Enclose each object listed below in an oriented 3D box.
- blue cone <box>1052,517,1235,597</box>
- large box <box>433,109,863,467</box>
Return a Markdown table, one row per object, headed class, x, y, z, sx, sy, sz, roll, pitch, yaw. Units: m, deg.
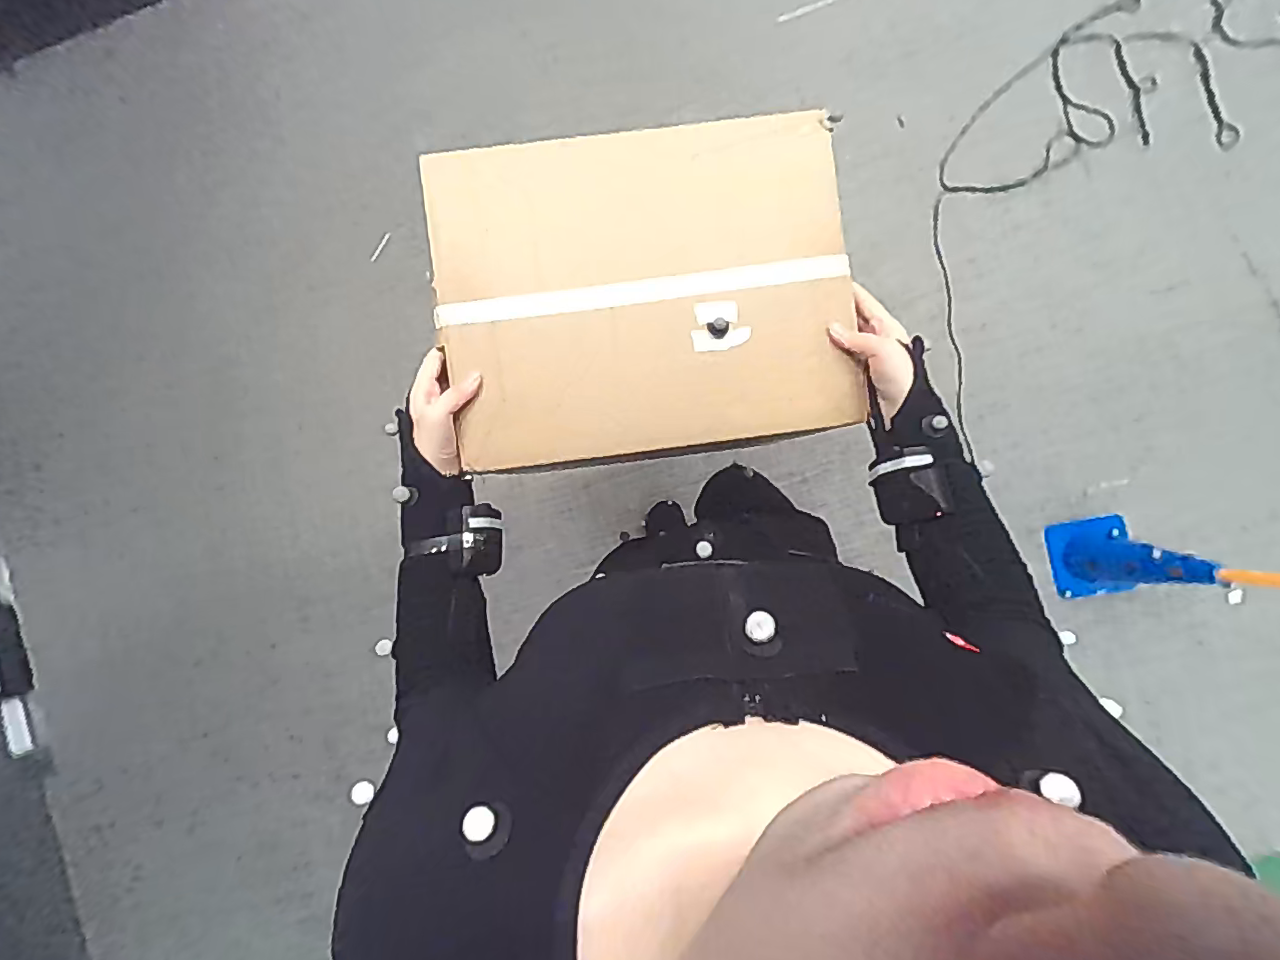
| class | x | y | z | sx | sy | sz | roll | pitch | yaw |
| --- | --- | --- | --- | --- | --- | --- | --- | --- | --- |
| blue cone | 1.168 | 0.195 | 1.246 | 0.193 | 0.380 | 0.192 | -10 | 88 | 5 |
| large box | 0.004 | -0.197 | 0.685 | 0.408 | 0.320 | 0.320 | -7 | 91 | -2 |
